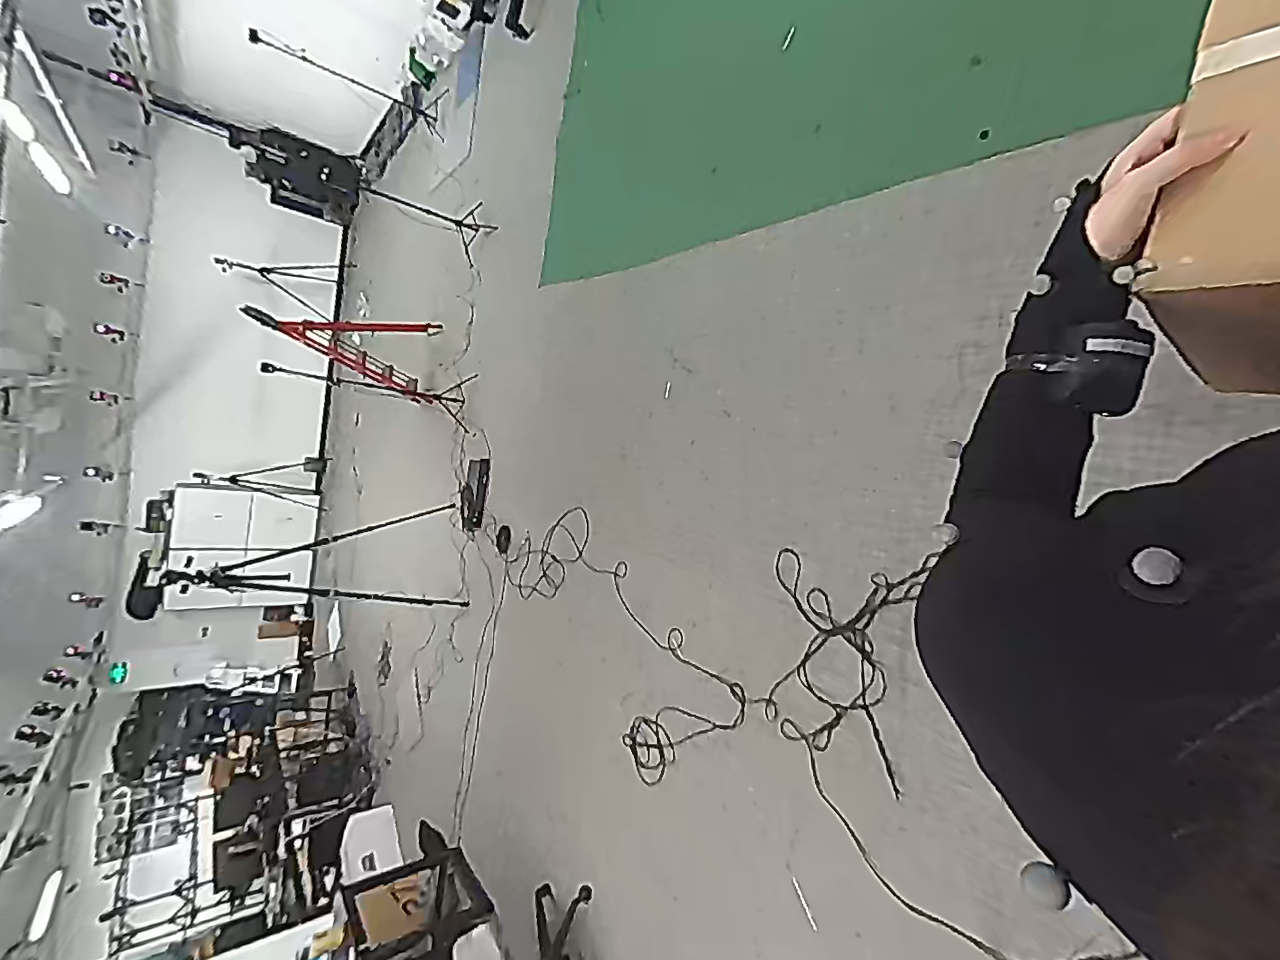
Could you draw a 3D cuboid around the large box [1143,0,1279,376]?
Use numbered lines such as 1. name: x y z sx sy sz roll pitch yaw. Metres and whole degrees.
1. large box: 0.637 -0.239 0.314 0.408 0.320 0.320 20 98 56
